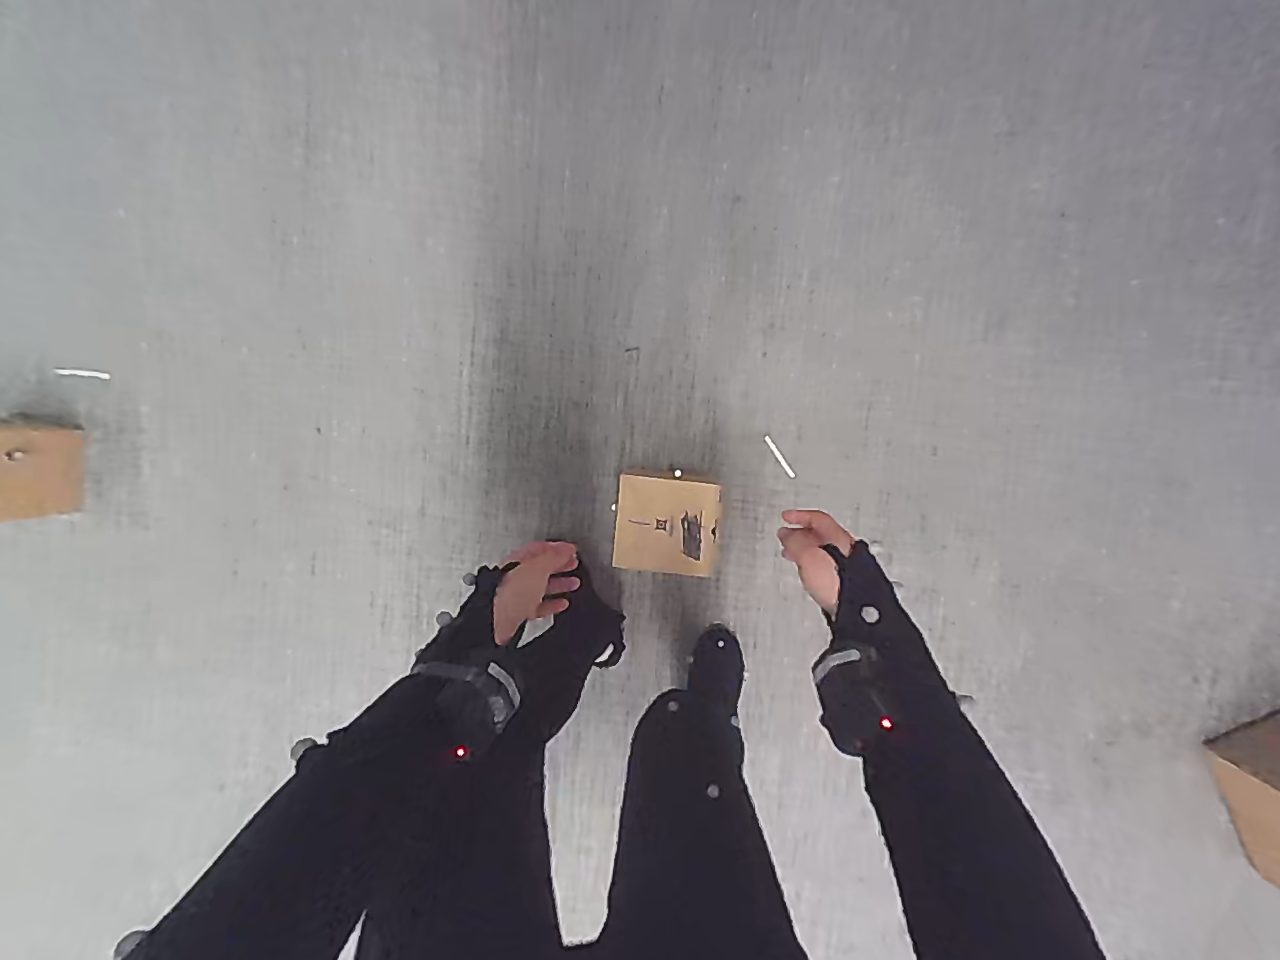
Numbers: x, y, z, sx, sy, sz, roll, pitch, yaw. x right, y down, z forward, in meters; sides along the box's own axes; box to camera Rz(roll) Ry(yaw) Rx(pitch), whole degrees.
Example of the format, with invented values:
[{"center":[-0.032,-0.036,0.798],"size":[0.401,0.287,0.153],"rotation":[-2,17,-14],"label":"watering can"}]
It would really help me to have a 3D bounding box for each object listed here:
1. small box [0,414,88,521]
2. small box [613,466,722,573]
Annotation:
[{"center":[-1.219,-0.030,1.030],"size":[0.168,0.176,0.179],"rotation":[10,95,1],"label":"small box"},{"center":[0.048,0.066,1.020],"size":[0.179,0.176,0.168],"rotation":[6,95,1],"label":"small box"}]
